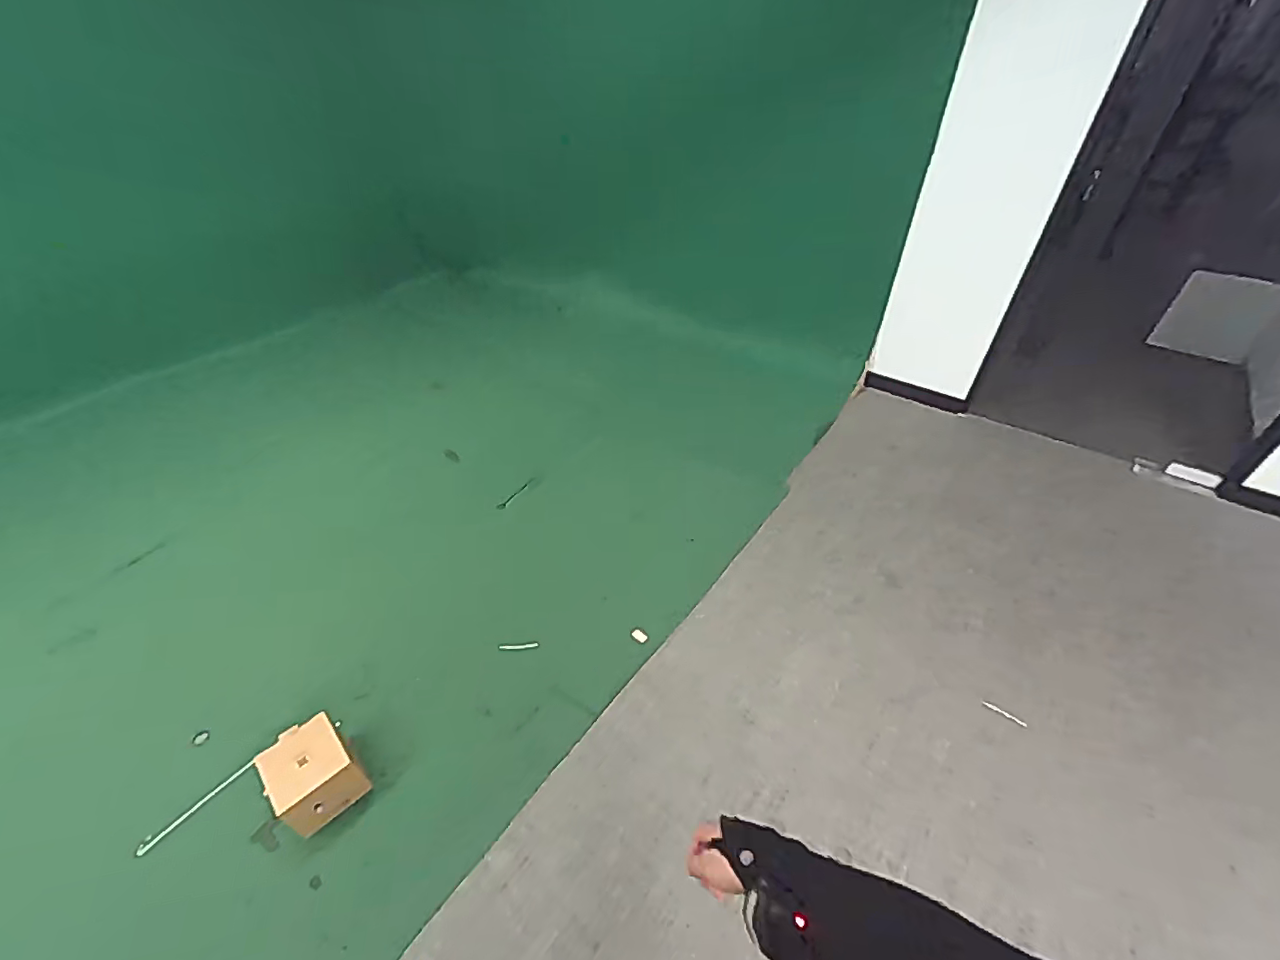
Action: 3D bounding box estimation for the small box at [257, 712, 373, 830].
[{"bbox_3d":[-0.787,0.717,1.322,0.168,0.176,0.179,-33,51,-31],"label":"small box"}]
